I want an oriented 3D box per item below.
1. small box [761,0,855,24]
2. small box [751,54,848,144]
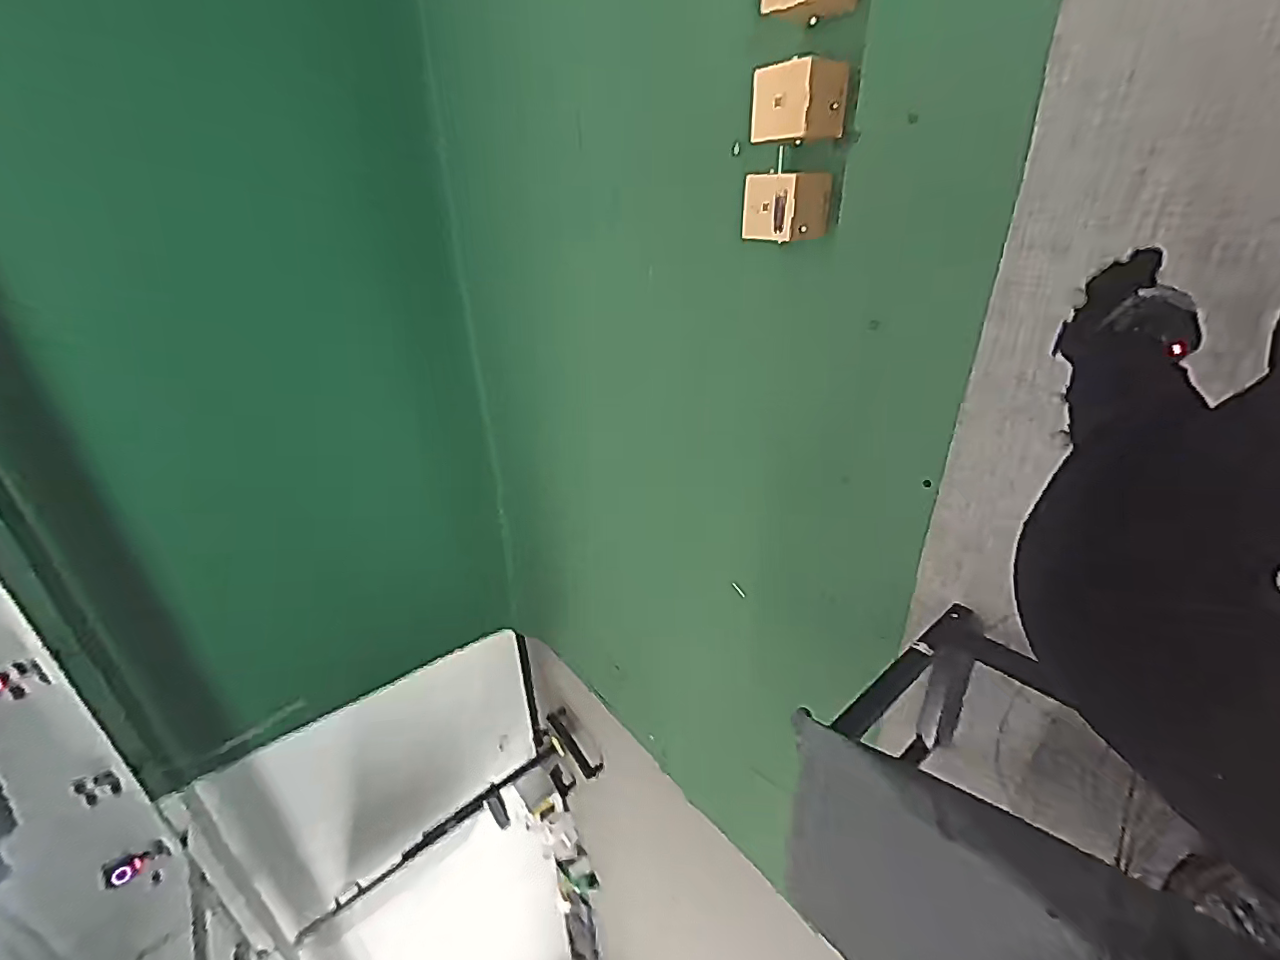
[{"bbox_3d":[0.419,-1.245,1.309,0.168,0.176,0.179,30,129,43],"label":"small box"},{"bbox_3d":[0.421,-1.002,1.438,0.179,0.176,0.168,26,127,43],"label":"small box"}]
